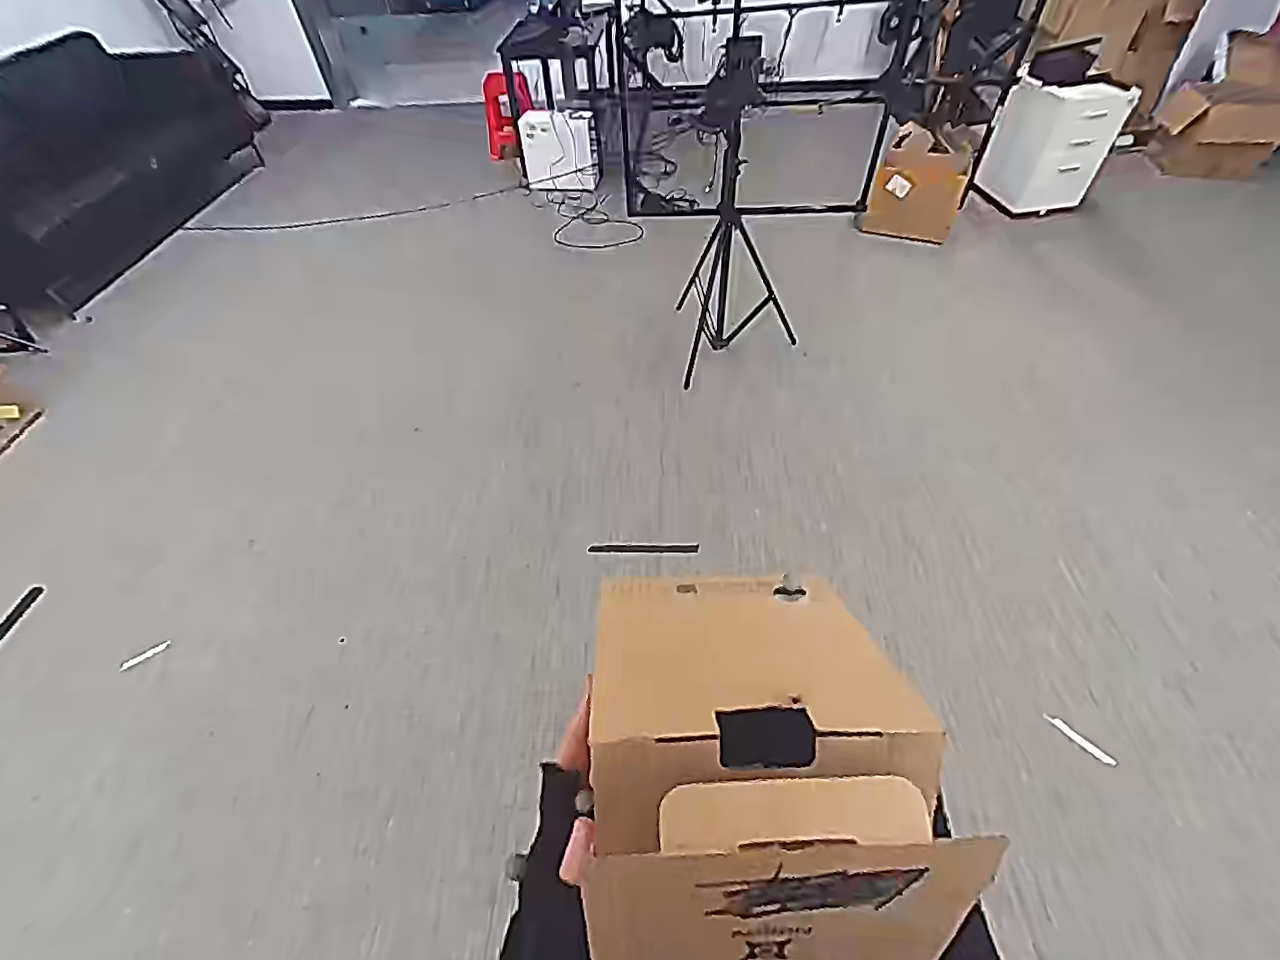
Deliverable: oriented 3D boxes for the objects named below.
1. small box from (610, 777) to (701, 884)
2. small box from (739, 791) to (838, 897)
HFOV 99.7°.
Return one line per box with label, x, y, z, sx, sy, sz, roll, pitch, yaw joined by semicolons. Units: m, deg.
small box;0.037;0.761;1.170;0.179;0.176;0.168;3;49;5
small box;0.303;0.773;1.146;0.179;0.176;0.168;0;50;6
